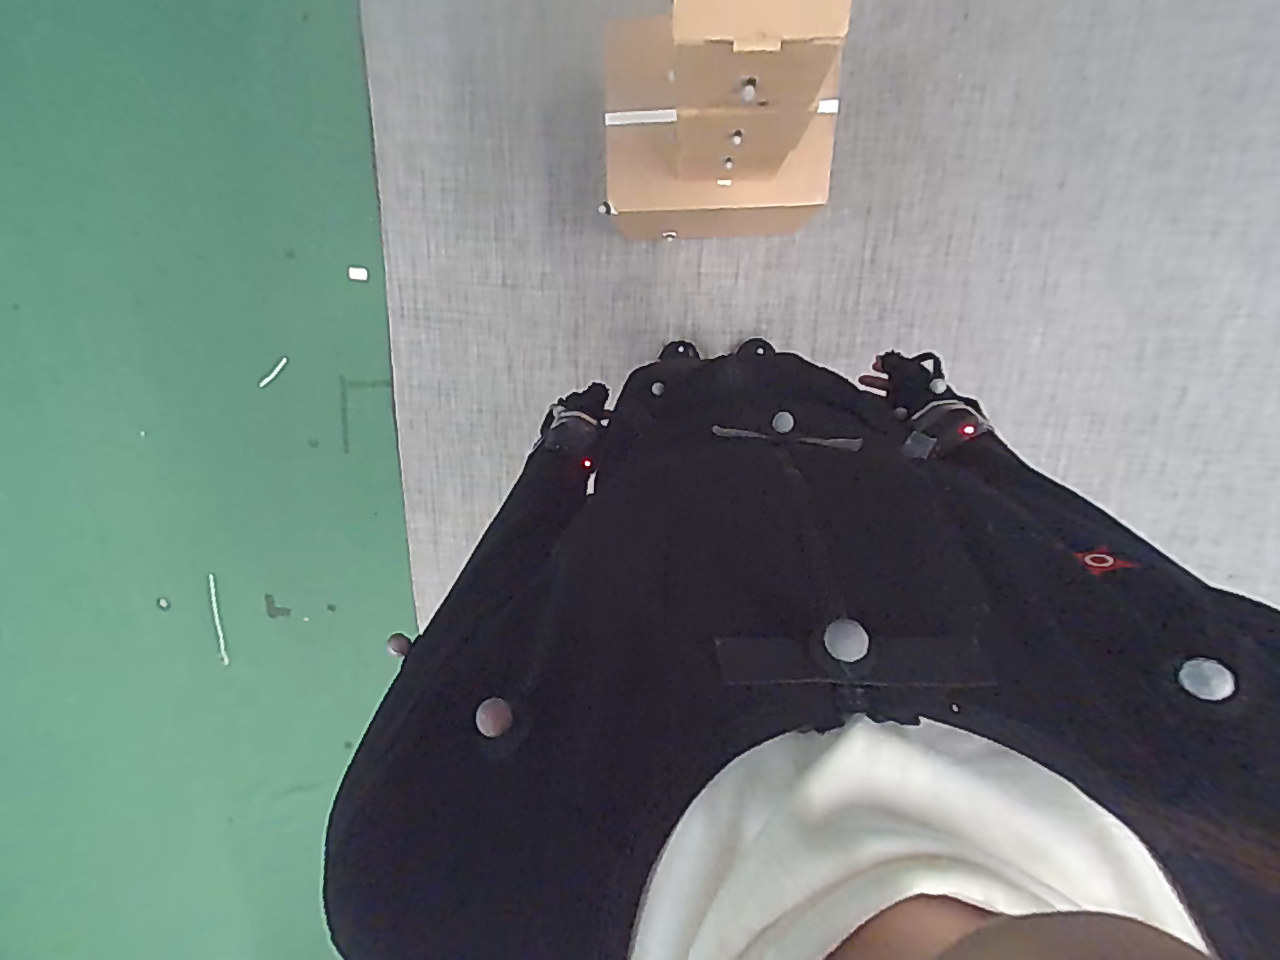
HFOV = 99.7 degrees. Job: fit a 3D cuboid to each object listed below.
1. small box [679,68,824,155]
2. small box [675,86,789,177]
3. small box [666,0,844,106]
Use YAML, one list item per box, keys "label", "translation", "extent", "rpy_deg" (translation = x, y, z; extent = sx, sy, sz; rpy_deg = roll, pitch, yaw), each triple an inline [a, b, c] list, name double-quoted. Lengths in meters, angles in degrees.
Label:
- label: "small box"
  translation: [0.140, -0.554, 0.724]
  extent: [0.179, 0.176, 0.168]
  rpy_deg: [-1, 106, 6]
- label: "small box"
  translation: [0.150, -0.604, 0.880]
  extent: [0.179, 0.176, 0.168]
  rpy_deg: [2, 107, 4]
- label: "small box"
  translation: [0.122, -0.518, 0.565]
  extent: [0.168, 0.176, 0.179]
  rpy_deg: [5, 107, 6]
